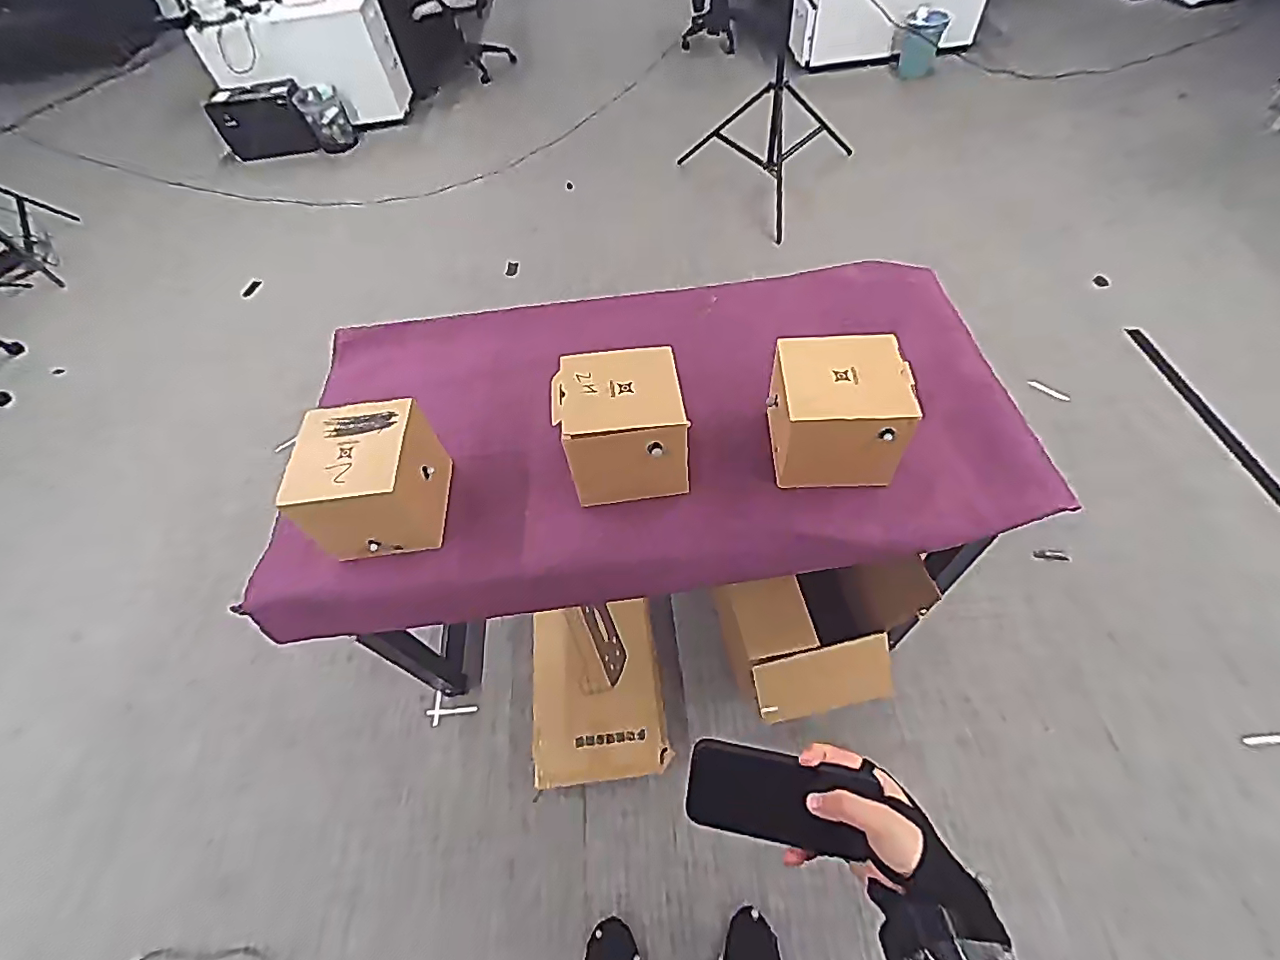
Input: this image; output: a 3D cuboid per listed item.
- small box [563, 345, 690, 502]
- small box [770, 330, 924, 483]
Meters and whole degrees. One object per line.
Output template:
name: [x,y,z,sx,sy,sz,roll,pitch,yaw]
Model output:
small box: [-0.019,-0.084,0.846,0.179,0.176,0.168,-8,53,1]
small box: [0.299,-0.106,0.829,0.179,0.176,0.168,-2,55,5]
